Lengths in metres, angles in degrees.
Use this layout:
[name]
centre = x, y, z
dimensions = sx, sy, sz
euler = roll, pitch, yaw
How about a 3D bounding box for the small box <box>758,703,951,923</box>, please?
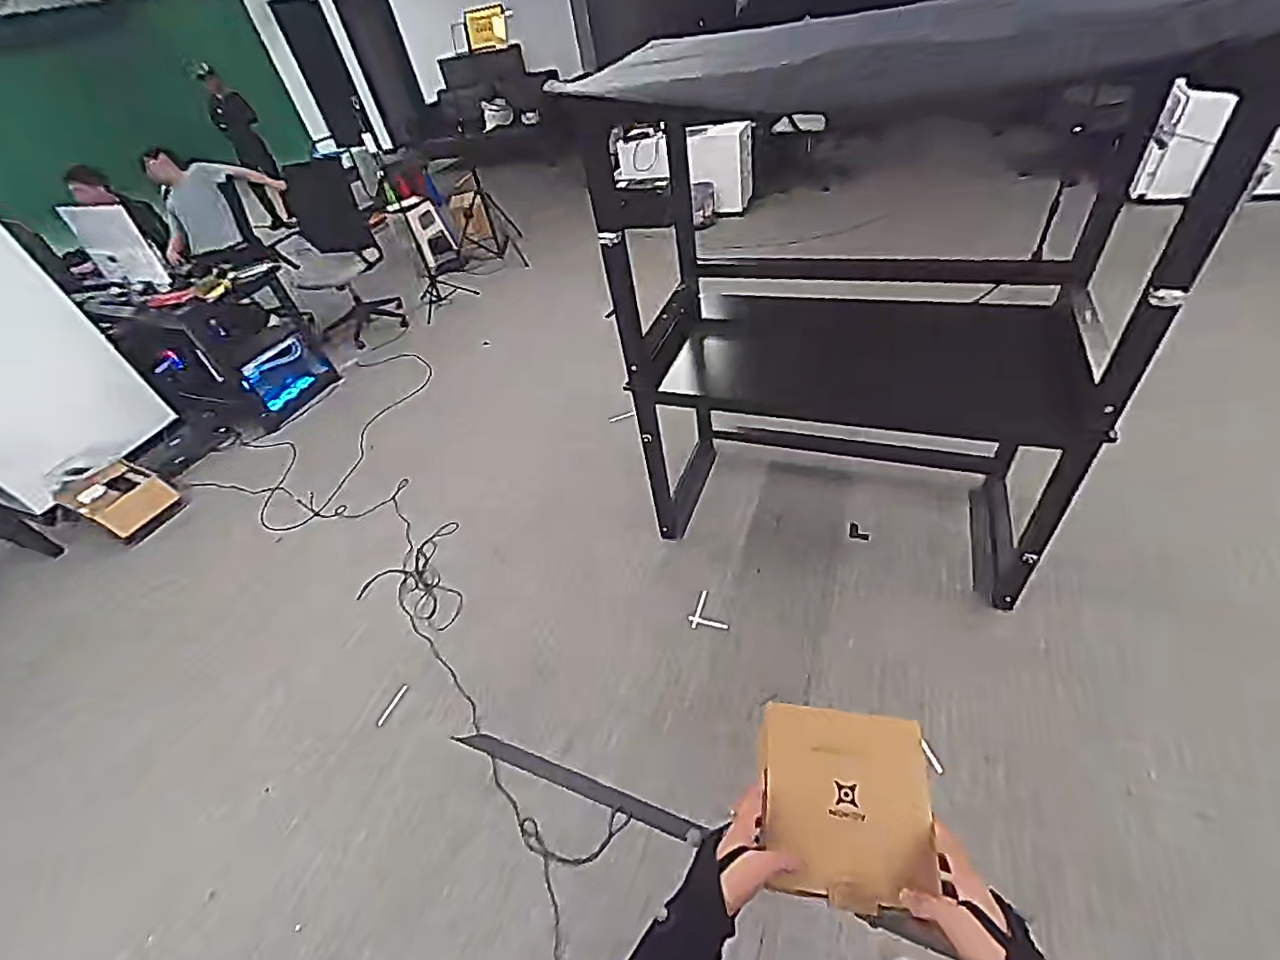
[small box]
centre = 0.227, 0.376, 0.620
dimensions = 0.168, 0.176, 0.179
euler = 4, 55, 9
